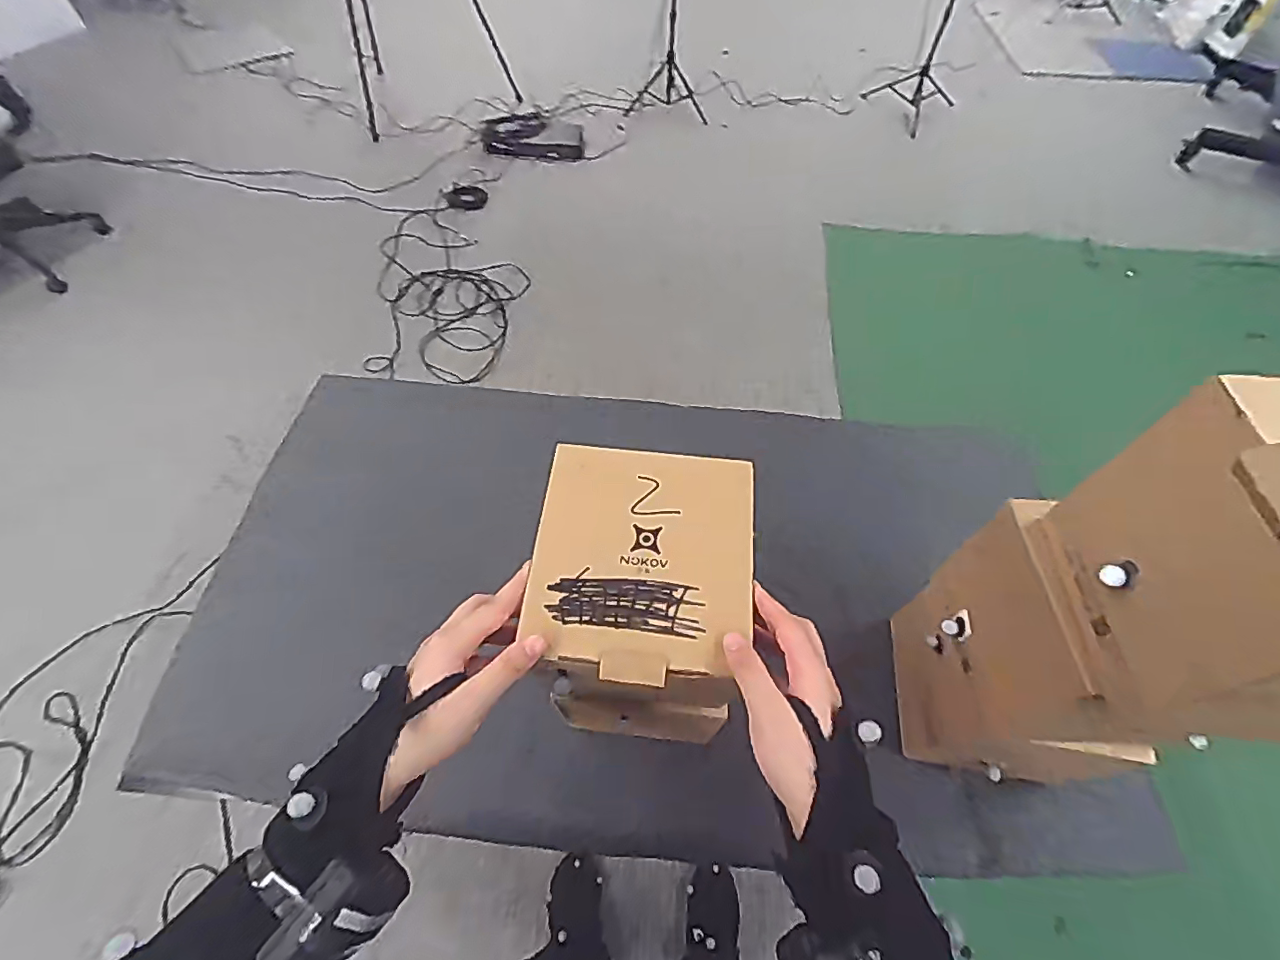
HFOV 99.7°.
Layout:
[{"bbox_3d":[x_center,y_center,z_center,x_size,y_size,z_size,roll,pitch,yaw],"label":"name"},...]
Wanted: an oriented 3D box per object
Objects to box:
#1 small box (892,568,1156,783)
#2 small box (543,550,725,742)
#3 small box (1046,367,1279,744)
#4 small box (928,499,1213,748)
[{"bbox_3d":[0.404,0.224,0.612,0.168,0.176,0.179,8,56,5],"label":"small box"},{"bbox_3d":[0.000,0.197,0.627,0.179,0.176,0.168,5,57,3],"label":"small box"},{"bbox_3d":[0.408,0.056,0.331,0.179,0.176,0.168,6,54,4],"label":"small box"},{"bbox_3d":[0.395,0.132,0.479,0.179,0.176,0.168,1,54,2],"label":"small box"}]
